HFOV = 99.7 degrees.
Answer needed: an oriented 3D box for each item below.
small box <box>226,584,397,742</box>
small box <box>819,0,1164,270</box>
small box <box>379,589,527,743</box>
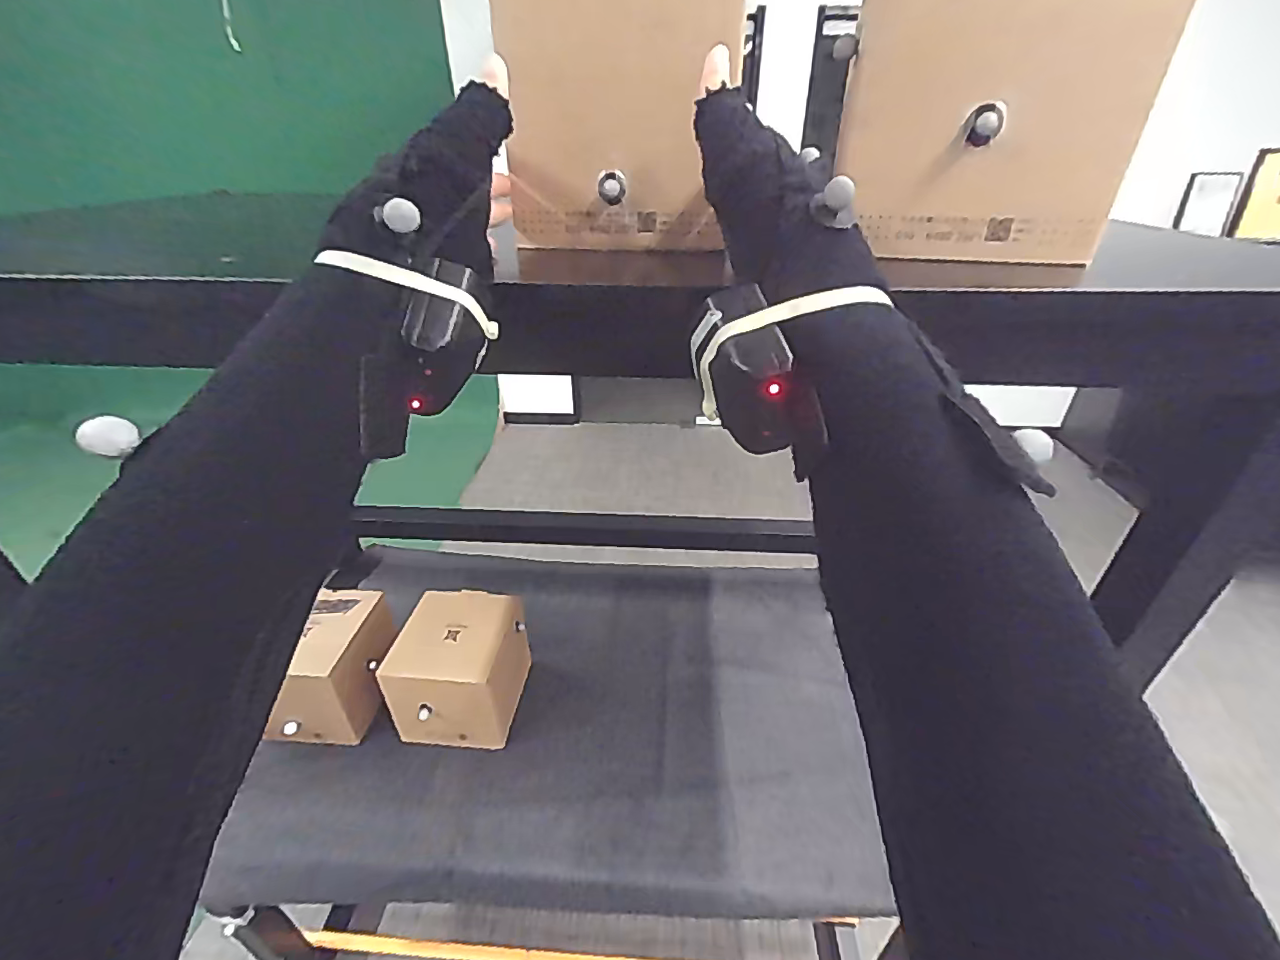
[{"bbox_3d":[-0.517,0.296,0.890,0.168,0.176,0.179,2,32,3],"label":"small box"},{"bbox_3d":[0.237,-0.264,0.413,0.168,0.176,0.179,8,32,13],"label":"small box"},{"bbox_3d":[-0.290,0.303,0.886,0.168,0.176,0.179,3,31,4],"label":"small box"}]
